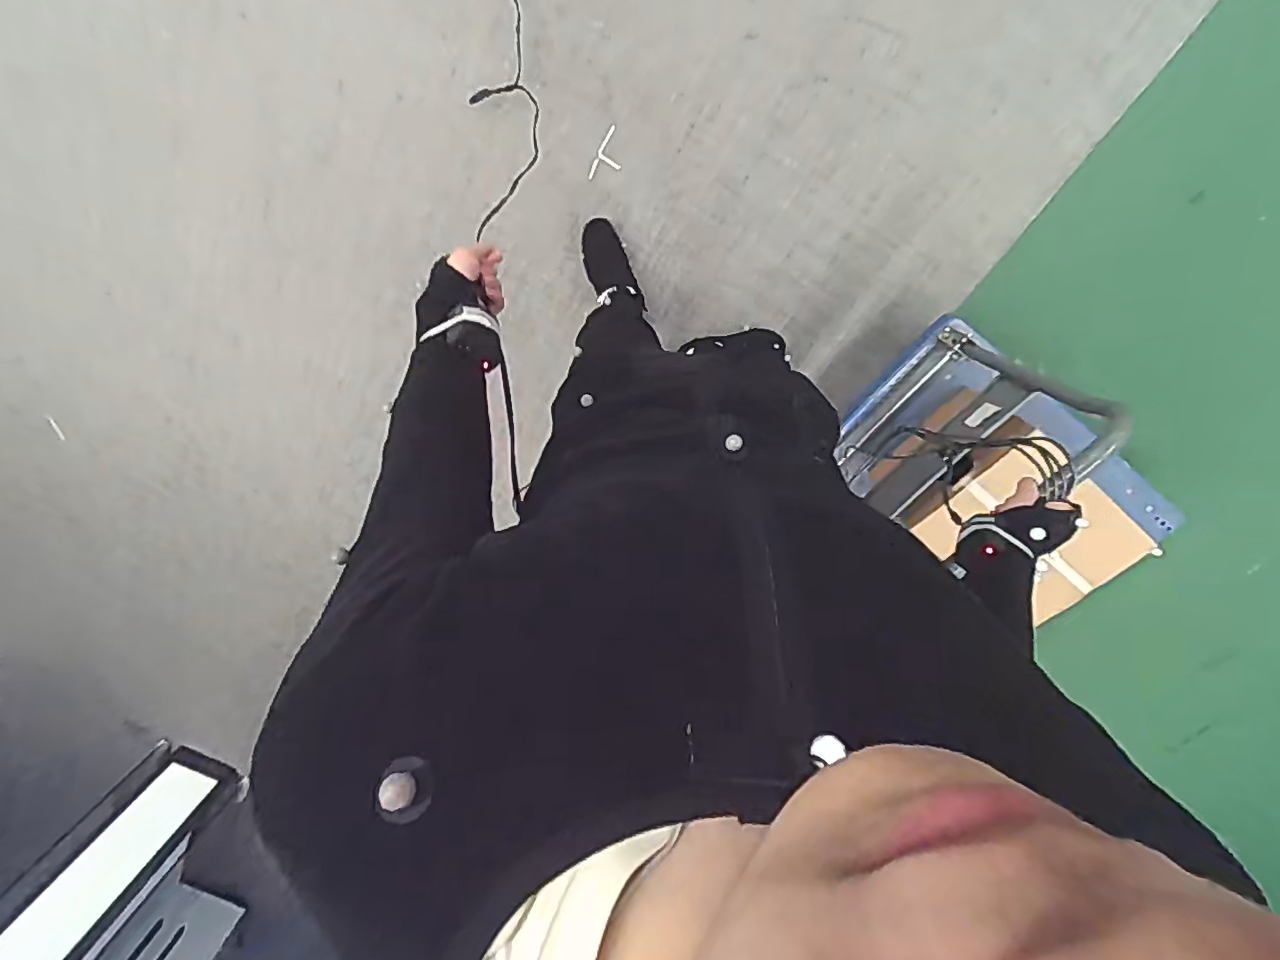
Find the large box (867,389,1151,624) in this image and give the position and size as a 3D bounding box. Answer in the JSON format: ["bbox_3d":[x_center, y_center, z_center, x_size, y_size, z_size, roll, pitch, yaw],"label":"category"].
[{"bbox_3d":[0.829,0.052,1.277,0.408,0.320,0.320,37,114,-12],"label":"large box"}]
